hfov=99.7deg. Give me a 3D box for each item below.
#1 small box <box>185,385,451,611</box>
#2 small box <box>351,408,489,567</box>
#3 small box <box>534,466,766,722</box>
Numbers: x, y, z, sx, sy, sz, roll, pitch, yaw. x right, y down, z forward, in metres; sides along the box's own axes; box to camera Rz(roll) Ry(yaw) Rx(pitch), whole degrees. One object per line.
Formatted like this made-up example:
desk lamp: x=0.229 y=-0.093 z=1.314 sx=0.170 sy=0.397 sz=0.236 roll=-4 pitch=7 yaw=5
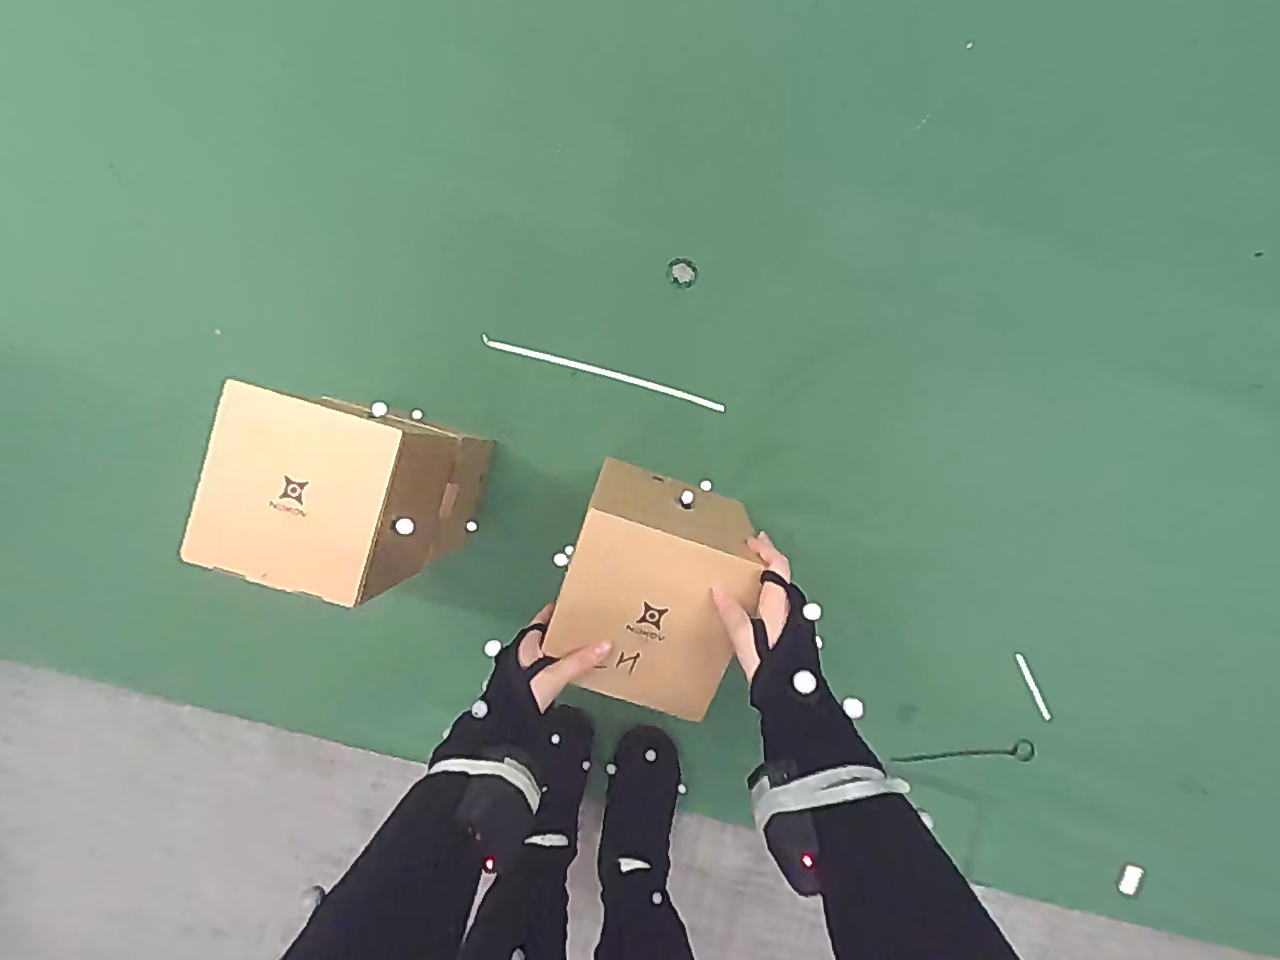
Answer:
small box: x=-0.321 y=0.014 z=0.579 sx=0.168 sy=0.176 sz=0.179 roll=17 pitch=92 yaw=-2
small box: x=-0.325 y=0.003 z=0.742 sx=0.179 sy=0.176 sz=0.168 roll=16 pitch=92 yaw=-1
small box: x=0.007 y=0.103 z=0.560 sx=0.168 sy=0.176 sz=0.179 roll=19 pitch=107 yaw=-4
